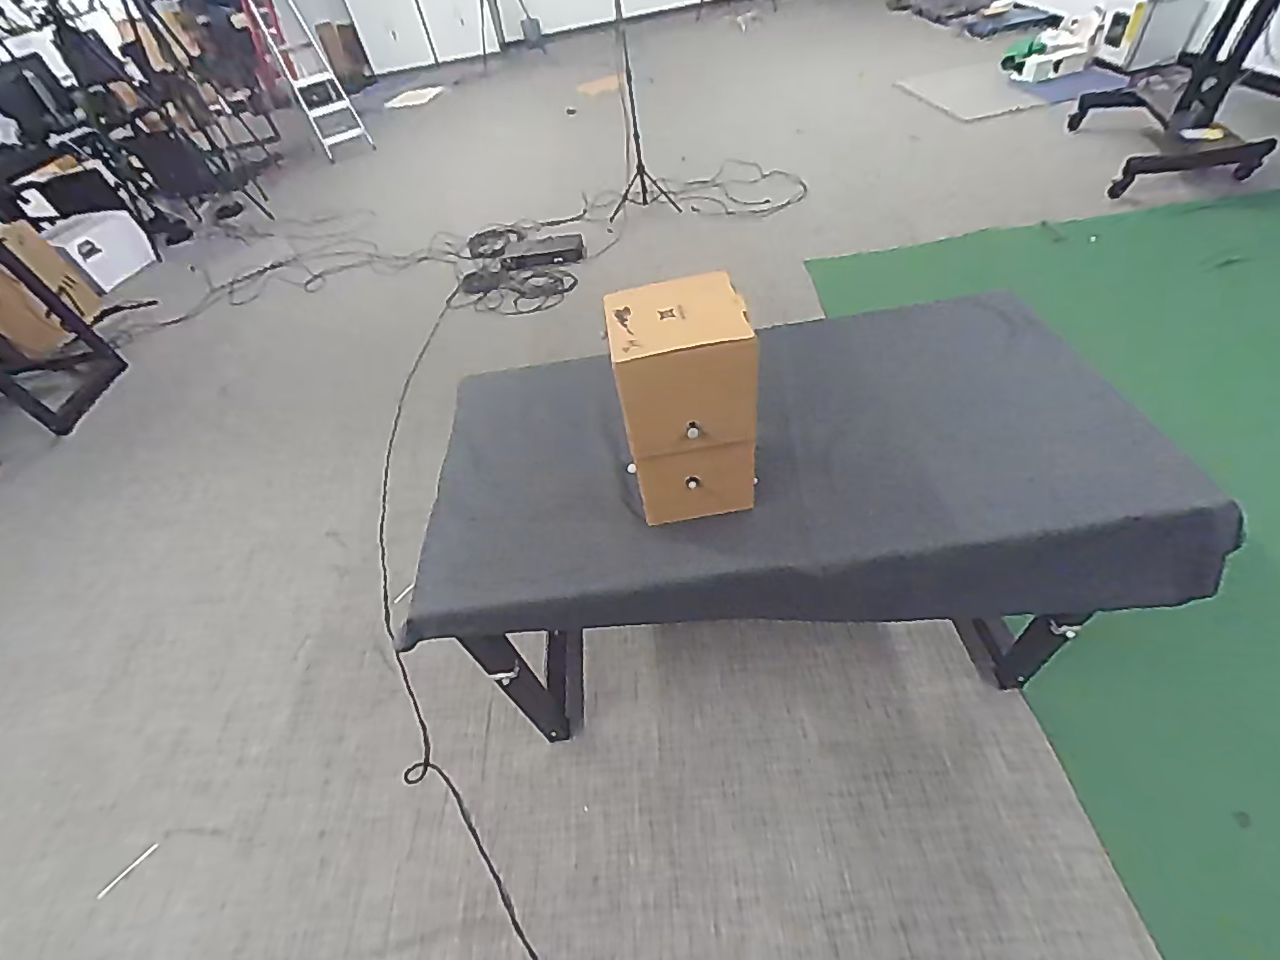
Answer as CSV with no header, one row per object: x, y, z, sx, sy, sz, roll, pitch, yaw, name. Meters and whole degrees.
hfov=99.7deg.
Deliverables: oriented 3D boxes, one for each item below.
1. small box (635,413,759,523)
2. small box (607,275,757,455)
0.082,-0.053,0.878,0.179,0.176,0.168,-12,48,-1,small box
0.056,-0.156,0.754,0.179,0.176,0.168,-10,48,2,small box
